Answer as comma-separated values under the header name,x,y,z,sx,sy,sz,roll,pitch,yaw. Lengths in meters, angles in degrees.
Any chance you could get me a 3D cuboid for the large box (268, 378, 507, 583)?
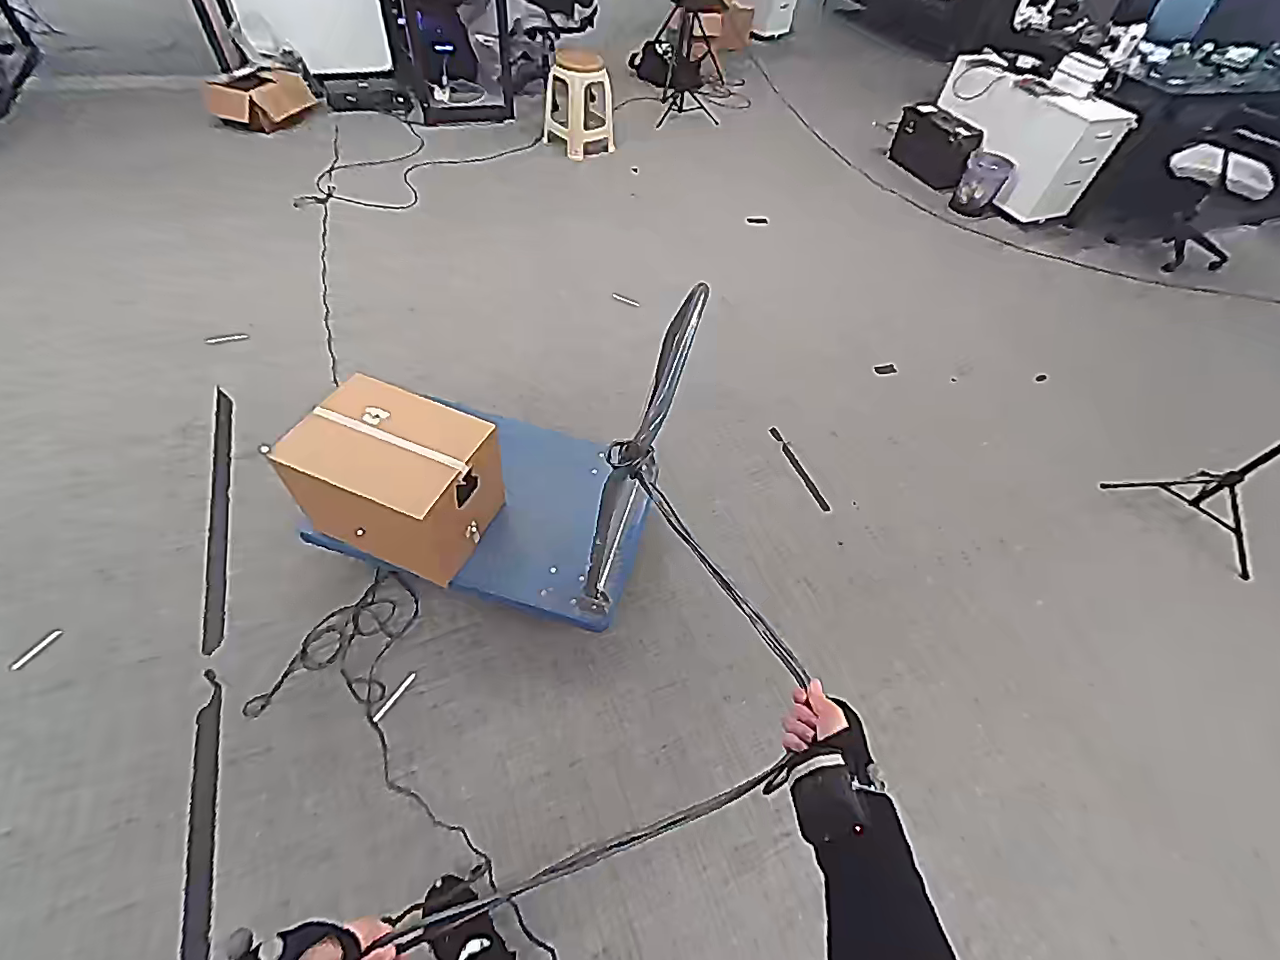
name,x,y,z,sx,sy,sz,roll,pitch,yaw
large box,-0.598,0.005,1.367,0.408,0.320,0.320,20,52,8
